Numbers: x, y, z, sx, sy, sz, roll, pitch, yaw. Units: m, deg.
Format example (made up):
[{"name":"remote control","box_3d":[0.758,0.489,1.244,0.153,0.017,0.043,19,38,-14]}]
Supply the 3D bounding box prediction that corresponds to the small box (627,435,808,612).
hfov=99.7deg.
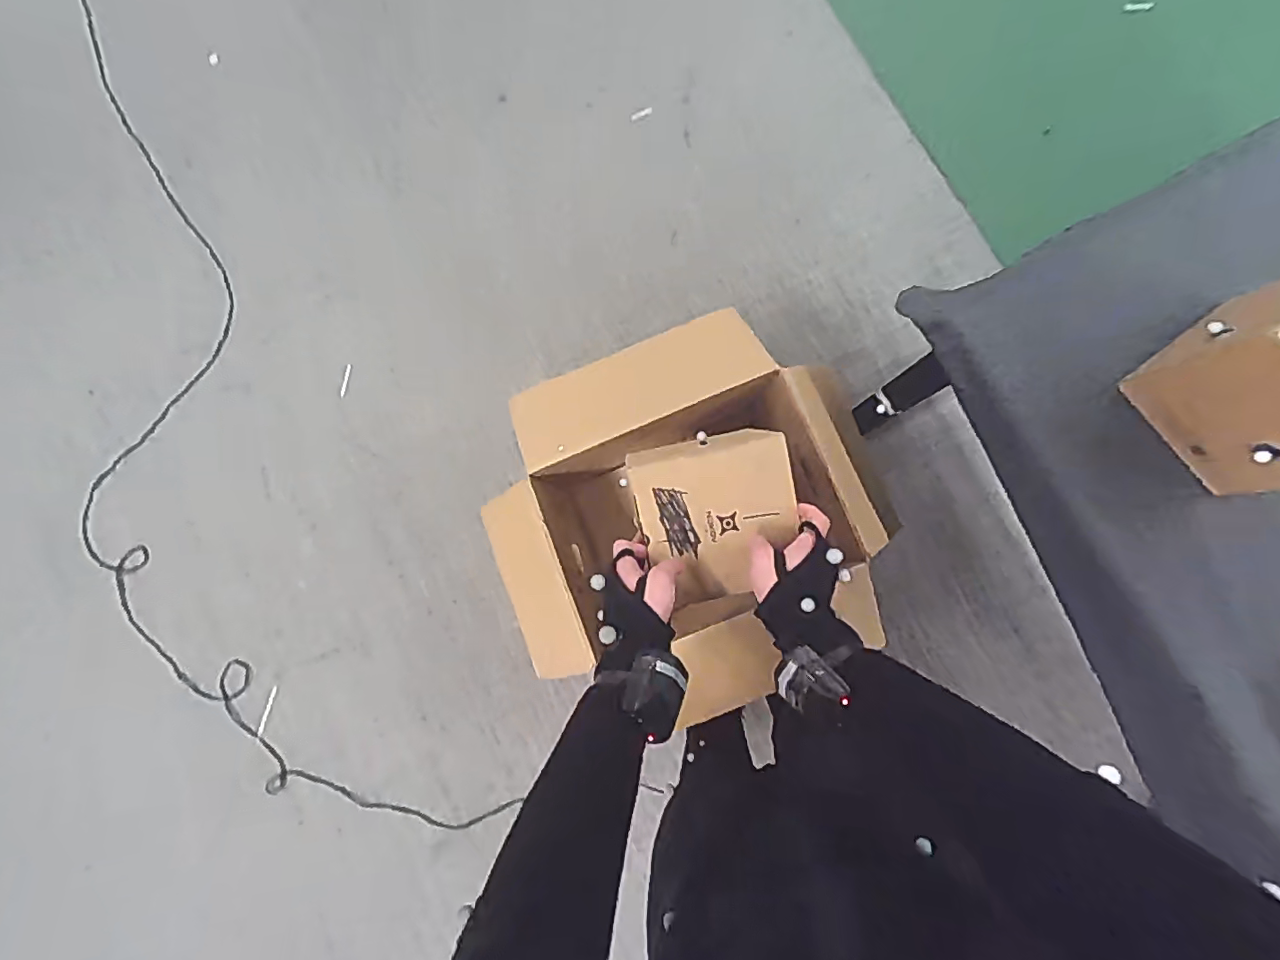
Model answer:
[{"name":"small box","box_3d":[0.085,0.042,0.665,0.179,0.176,0.168,-12,97,0]}]

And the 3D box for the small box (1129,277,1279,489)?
[{"name":"small box","box_3d":[0.673,-0.107,0.558,0.179,0.176,0.168,-37,84,-4]}]
